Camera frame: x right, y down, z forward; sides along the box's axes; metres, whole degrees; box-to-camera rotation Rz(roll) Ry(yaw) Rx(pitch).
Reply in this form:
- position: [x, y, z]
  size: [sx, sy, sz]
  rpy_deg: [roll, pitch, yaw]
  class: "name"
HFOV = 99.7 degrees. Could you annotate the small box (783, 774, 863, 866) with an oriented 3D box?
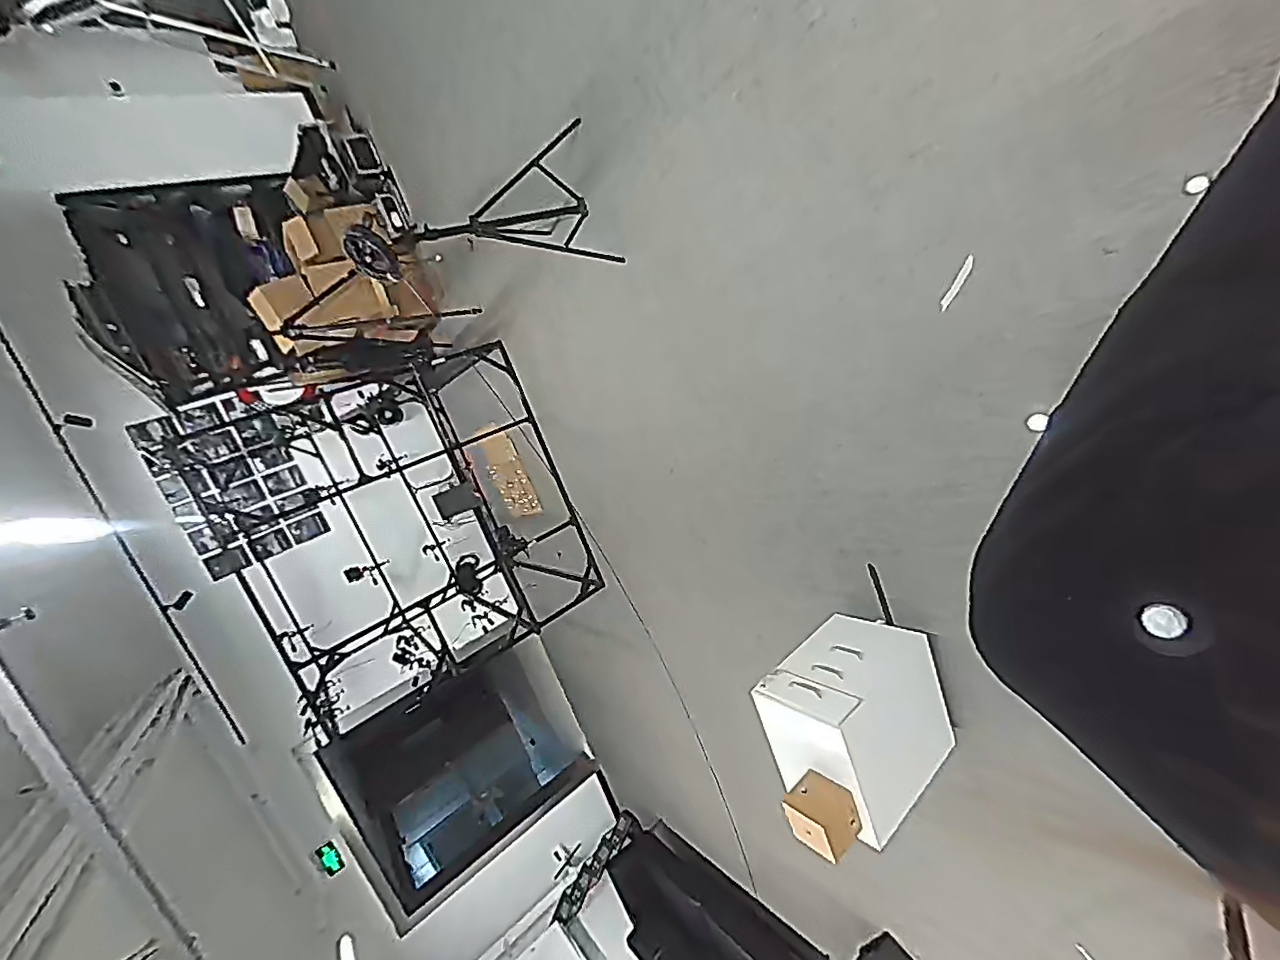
- position: [0.624, 1.144, 1.839]
  size: [0.179, 0.176, 0.168]
  rpy_deg: [1, 115, 57]
  class: "small box"
